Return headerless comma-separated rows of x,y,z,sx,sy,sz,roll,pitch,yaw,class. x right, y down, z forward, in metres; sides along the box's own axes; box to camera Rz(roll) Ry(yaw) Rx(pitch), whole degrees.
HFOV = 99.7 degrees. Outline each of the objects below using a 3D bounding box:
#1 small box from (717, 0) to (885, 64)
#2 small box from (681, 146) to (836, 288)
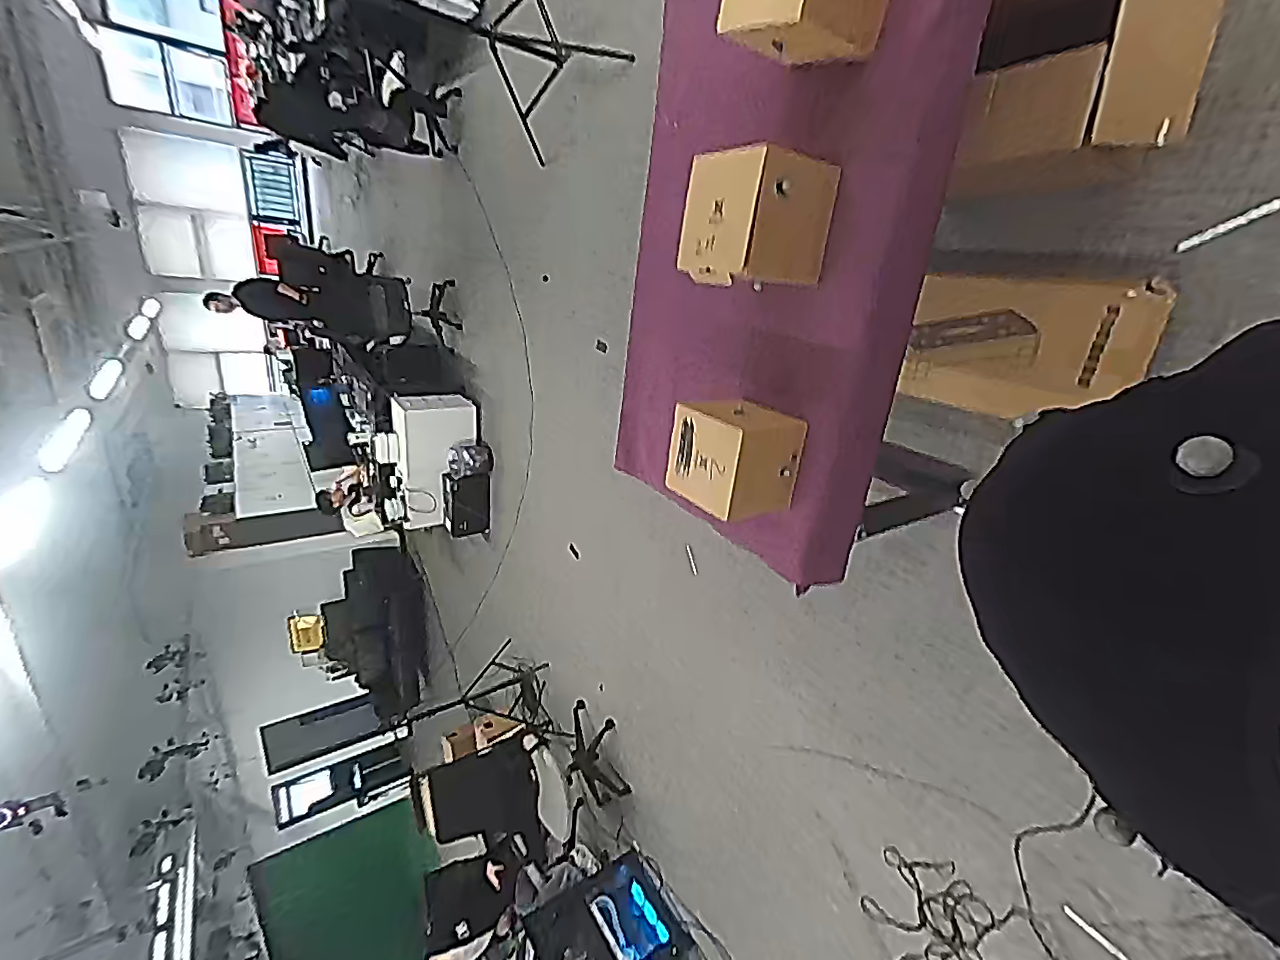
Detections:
0.238,-0.705,0.750,0.168,0.176,0.179,40,128,44,small box
0.191,-0.418,0.880,0.168,0.176,0.179,33,124,50,small box
